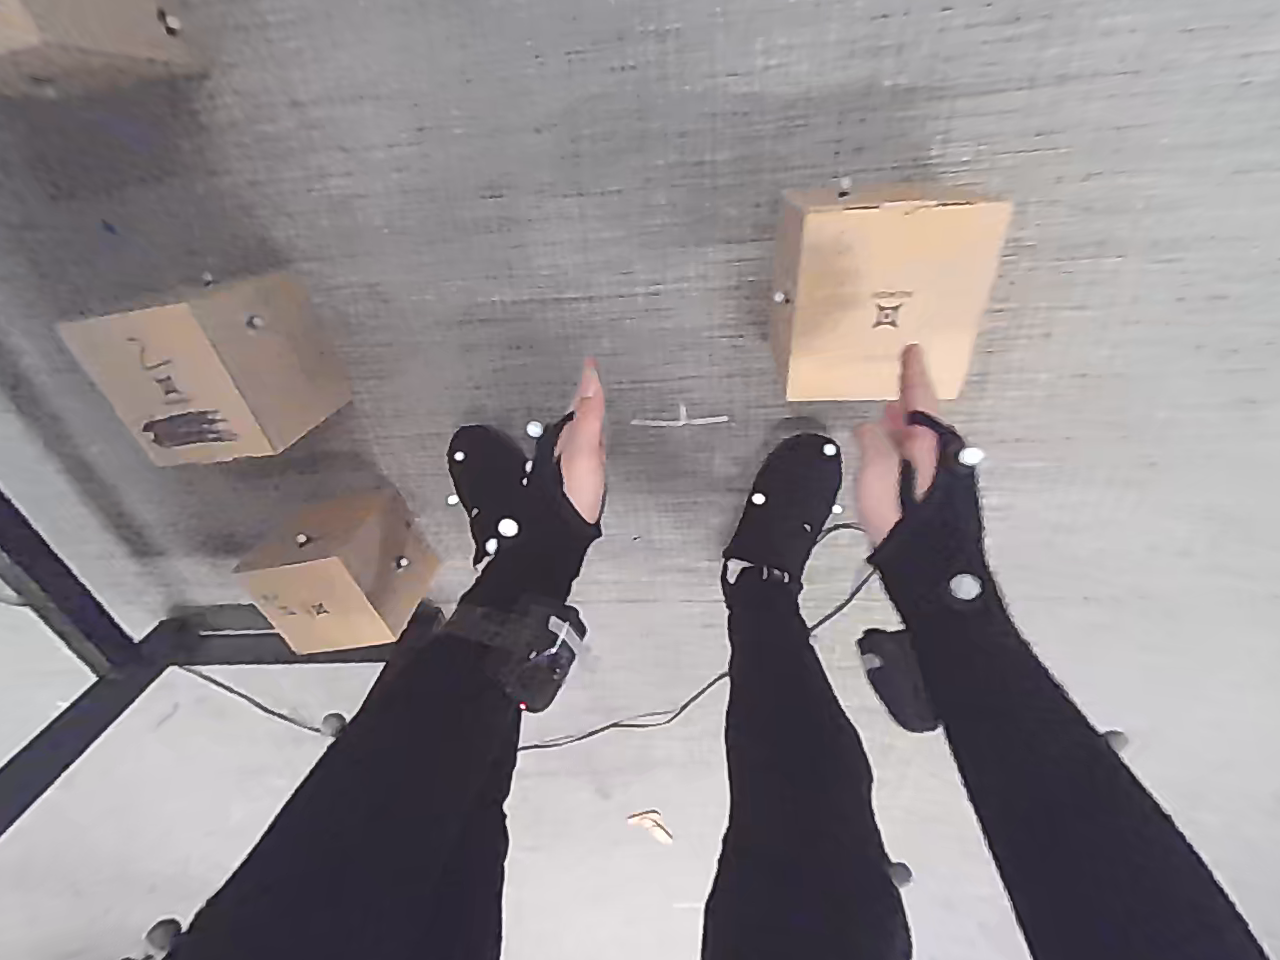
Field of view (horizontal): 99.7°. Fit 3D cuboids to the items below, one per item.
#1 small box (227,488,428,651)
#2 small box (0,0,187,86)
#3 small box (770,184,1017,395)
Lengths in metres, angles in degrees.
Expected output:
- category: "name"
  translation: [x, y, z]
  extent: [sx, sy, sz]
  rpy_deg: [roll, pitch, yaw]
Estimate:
- category: "small box"
  translation: [-0.444, 0.128, 0.810]
  extent: [0.179, 0.176, 0.168]
  rpy_deg: [-10, 120, 11]
- category: "small box"
  translation: [-0.544, -0.453, 0.458]
  extent: [0.179, 0.176, 0.168]
  rpy_deg: [-4, 121, 9]
- category: "small box"
  translation: [0.230, -0.198, 0.548]
  extent: [0.168, 0.176, 0.179]
  rpy_deg: [1, 122, 5]
